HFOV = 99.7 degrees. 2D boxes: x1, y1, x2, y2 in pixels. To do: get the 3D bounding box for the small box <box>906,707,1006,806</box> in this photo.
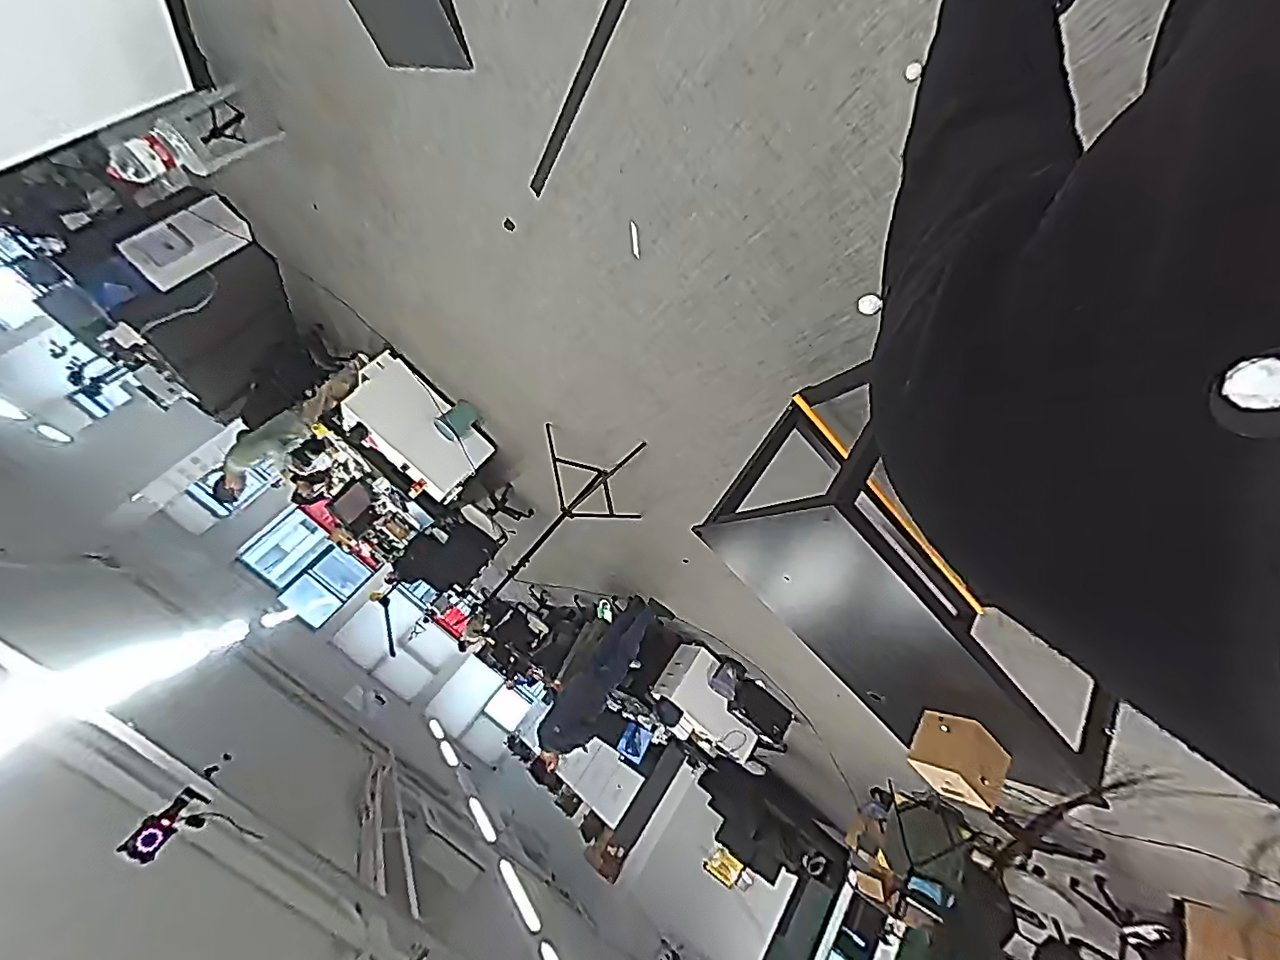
[{"bbox_3d":[0.926,0.800,1.579,0.179,0.176,0.168,46,154,-11],"label":"small box"}]
